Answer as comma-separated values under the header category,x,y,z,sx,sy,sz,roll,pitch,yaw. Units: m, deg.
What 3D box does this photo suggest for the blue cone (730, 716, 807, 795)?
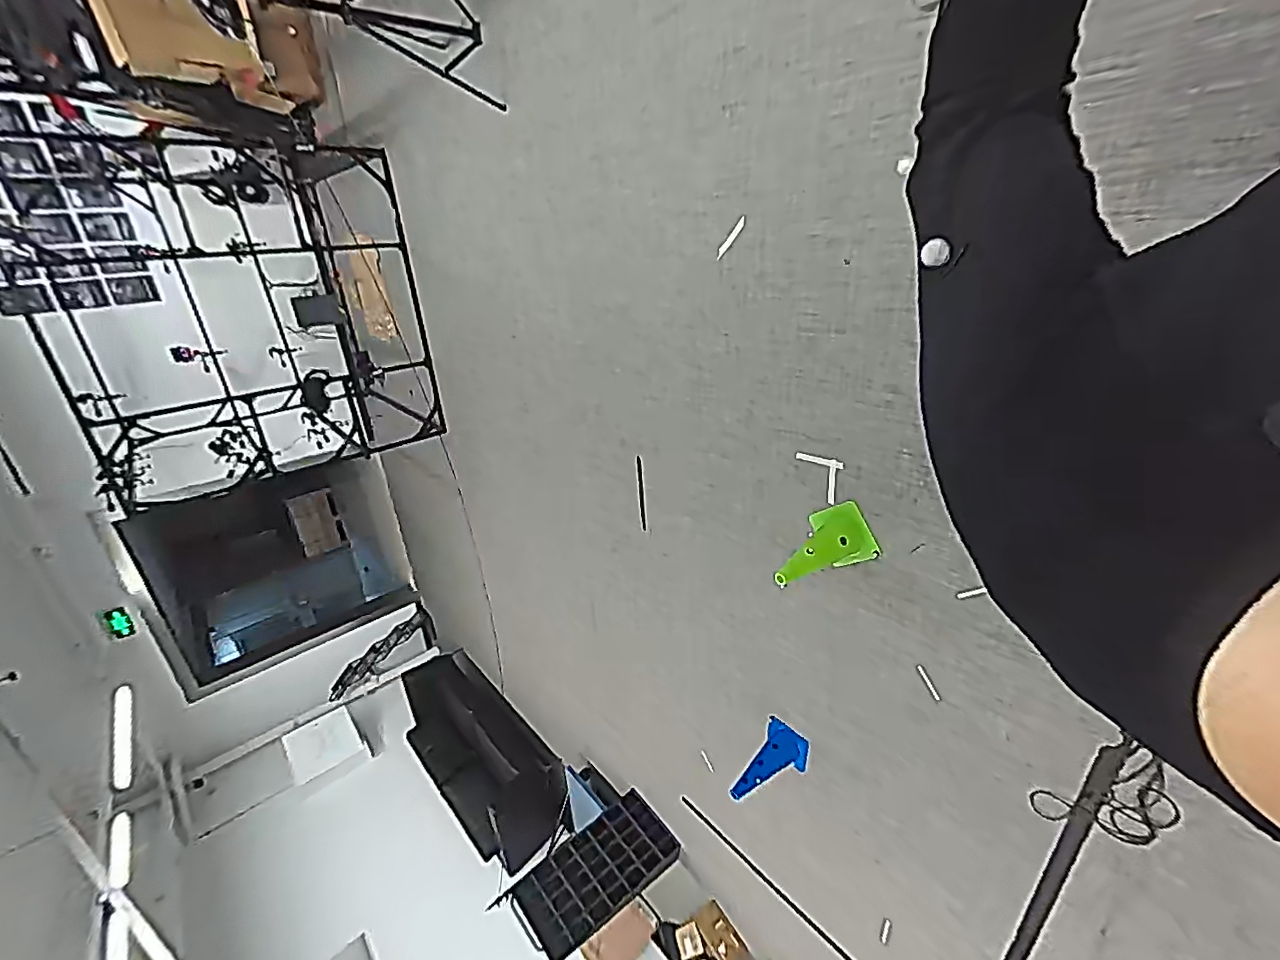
category,x,y,z,sx,sy,sz,roll,pitch,yaw
blue cone,0.526,1.204,2.285,0.192,0.380,0.193,28,129,44

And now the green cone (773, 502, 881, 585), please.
category,x,y,z,sx,sy,sz,roll,pitch,yaw
green cone,0.549,0.234,1.702,0.202,0.368,0.200,-35,79,56
